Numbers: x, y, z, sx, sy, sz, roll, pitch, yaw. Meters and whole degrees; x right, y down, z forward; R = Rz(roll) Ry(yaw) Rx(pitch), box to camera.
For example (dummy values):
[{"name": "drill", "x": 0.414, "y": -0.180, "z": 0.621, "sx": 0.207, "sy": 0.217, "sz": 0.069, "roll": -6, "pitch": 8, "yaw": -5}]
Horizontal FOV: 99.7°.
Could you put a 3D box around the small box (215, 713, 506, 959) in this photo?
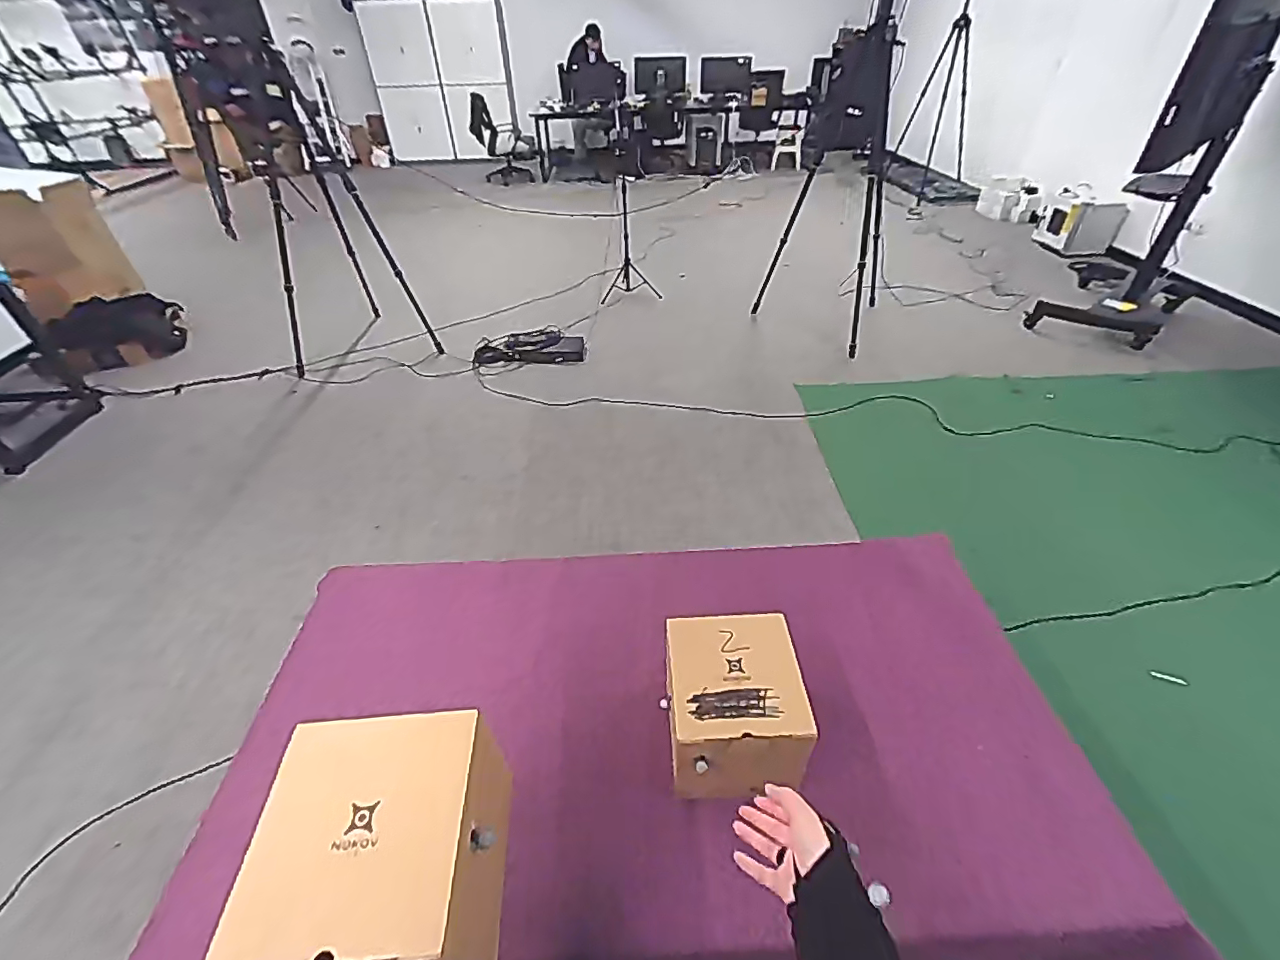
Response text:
[{"name": "small box", "x": -0.225, "y": 0.342, "z": 0.499, "sx": 0.168, "sy": 0.176, "sz": 0.179, "roll": -4, "pitch": 43, "yaw": -2}]
